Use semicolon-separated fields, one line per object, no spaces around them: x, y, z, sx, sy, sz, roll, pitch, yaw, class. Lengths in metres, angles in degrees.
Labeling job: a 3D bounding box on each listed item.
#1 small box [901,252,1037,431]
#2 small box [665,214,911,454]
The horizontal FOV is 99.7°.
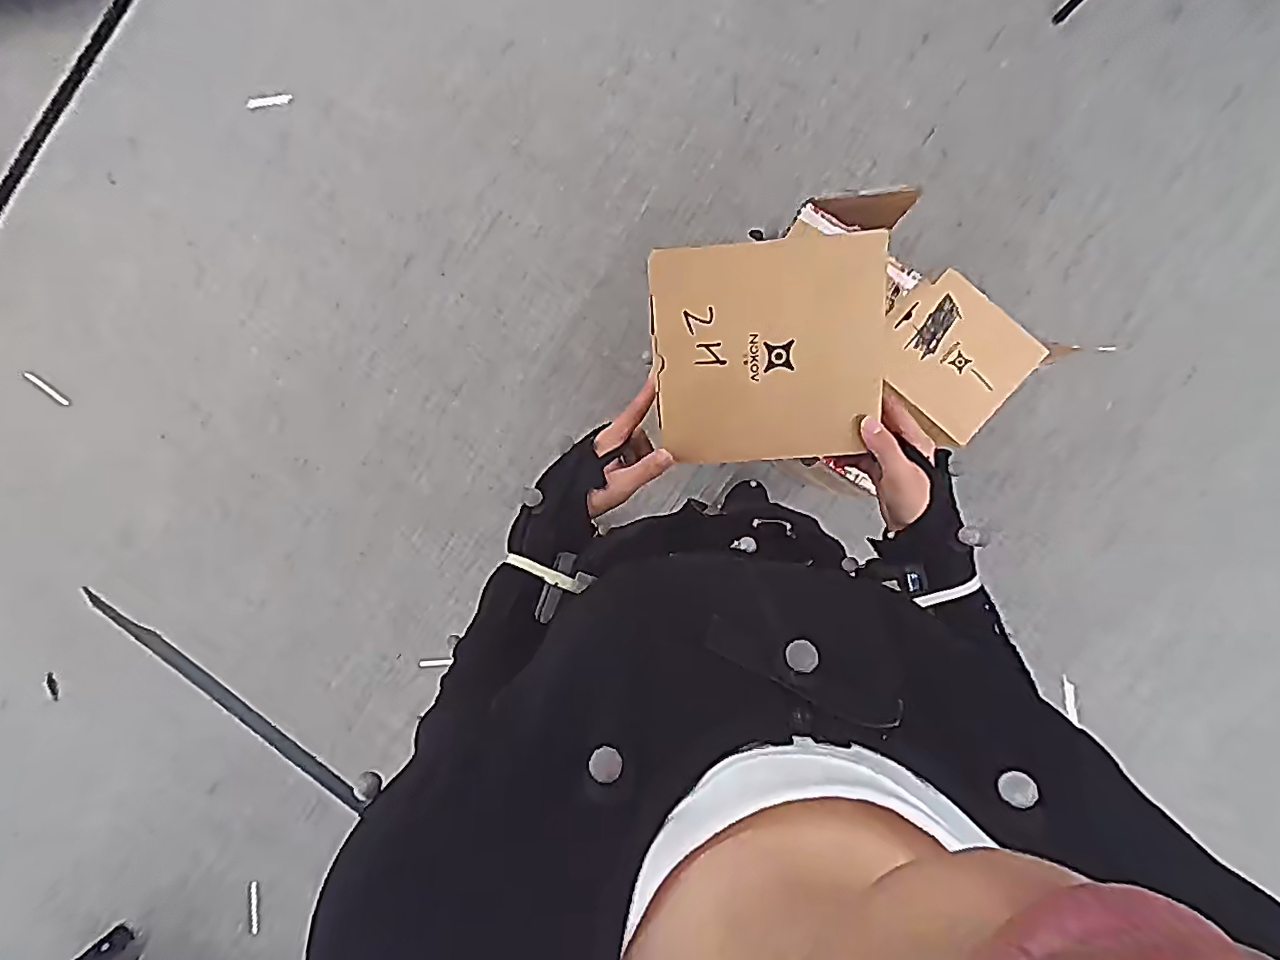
0.393;-0.181;0.772;0.179;0.176;0.168;39;97;2;small box
0.115;-0.125;0.481;0.179;0.176;0.168;-4;105;6;small box
